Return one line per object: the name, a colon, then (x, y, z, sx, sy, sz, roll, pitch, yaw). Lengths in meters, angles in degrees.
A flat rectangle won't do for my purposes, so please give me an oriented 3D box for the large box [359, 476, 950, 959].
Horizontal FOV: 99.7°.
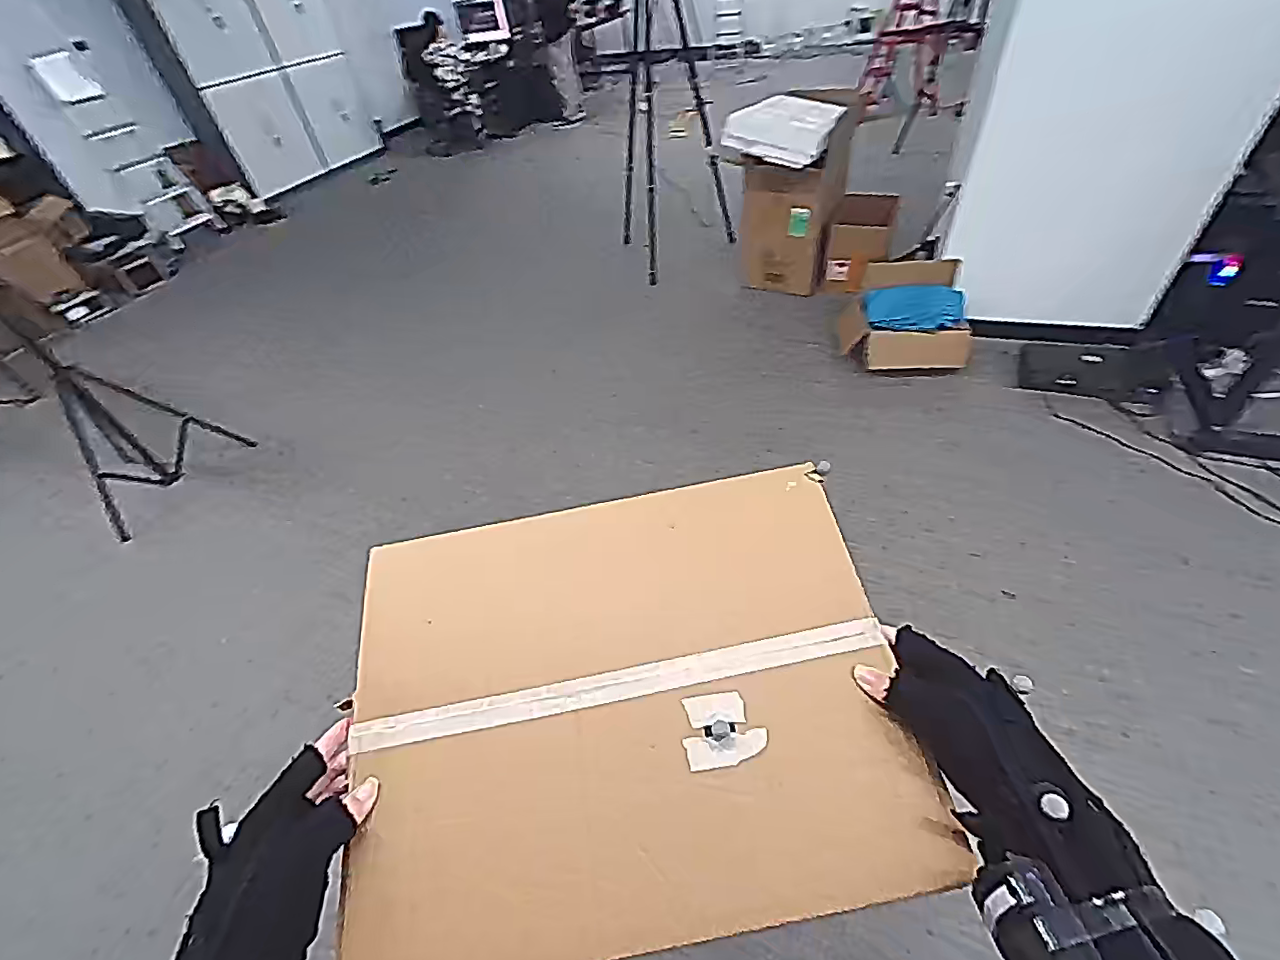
large box: (-0.004, 0.240, 0.552, 0.408, 0.320, 0.320, -11, 59, -2)
